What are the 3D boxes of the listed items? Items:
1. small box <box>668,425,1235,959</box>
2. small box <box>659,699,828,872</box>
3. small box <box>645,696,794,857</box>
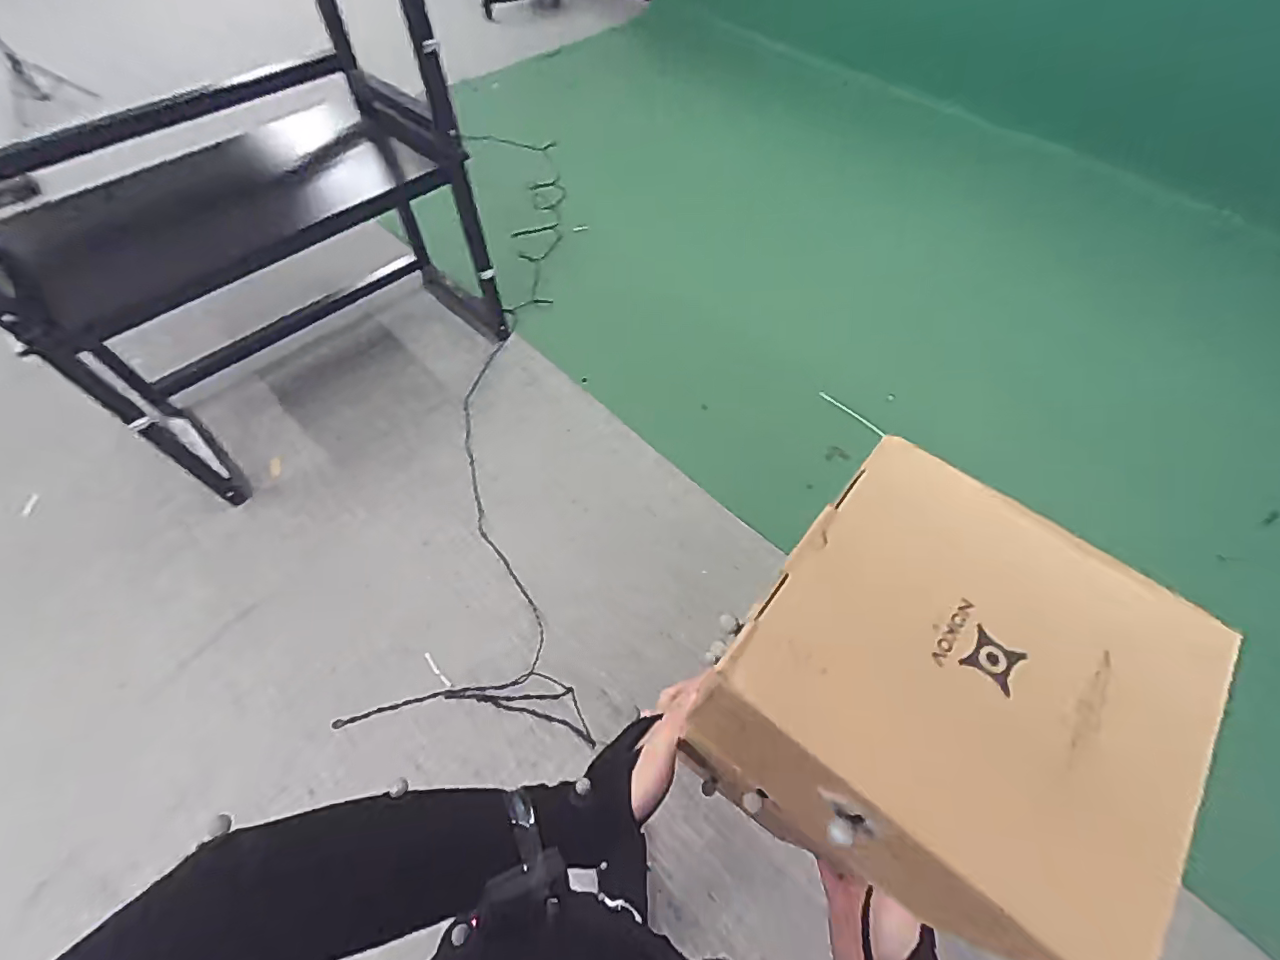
[{"bbox_3d":[0.131,0.111,0.292,0.179,0.176,0.168,38,66,17],"label":"small box"},{"bbox_3d":[0.128,0.188,0.436,0.179,0.176,0.168,33,65,16],"label":"small box"},{"bbox_3d":[0.120,0.259,0.584,0.168,0.176,0.179,34,65,16],"label":"small box"}]
